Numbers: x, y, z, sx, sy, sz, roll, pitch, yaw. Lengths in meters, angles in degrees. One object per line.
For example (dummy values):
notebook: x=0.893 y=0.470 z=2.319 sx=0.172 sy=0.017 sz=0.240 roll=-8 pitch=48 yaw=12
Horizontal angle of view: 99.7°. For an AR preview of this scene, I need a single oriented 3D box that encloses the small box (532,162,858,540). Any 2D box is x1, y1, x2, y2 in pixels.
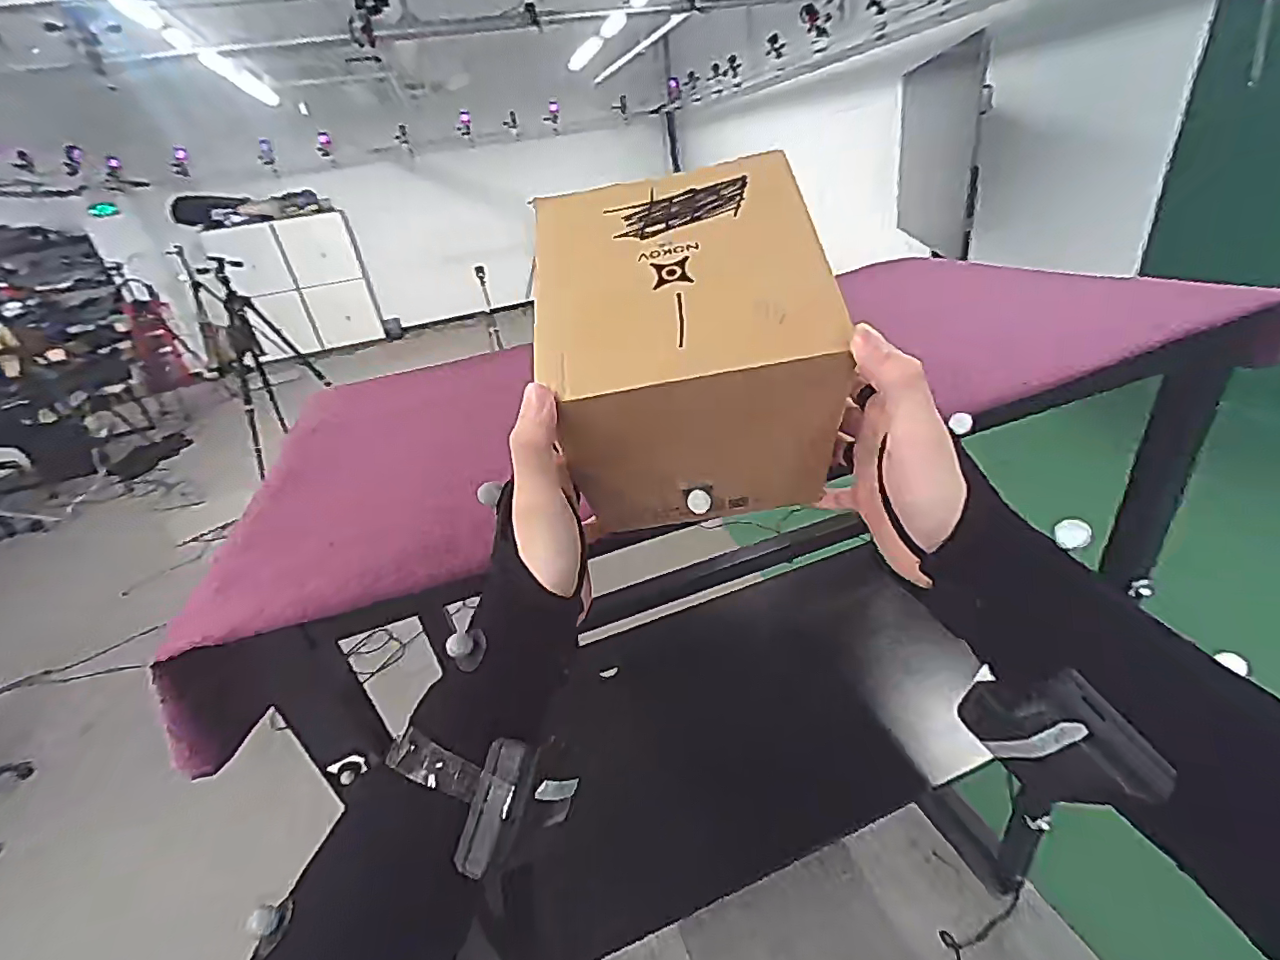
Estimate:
small box: x=0.033 y=-0.078 z=0.377 sx=0.168 sy=0.176 sz=0.179 roll=-9 pitch=60 yaw=7
